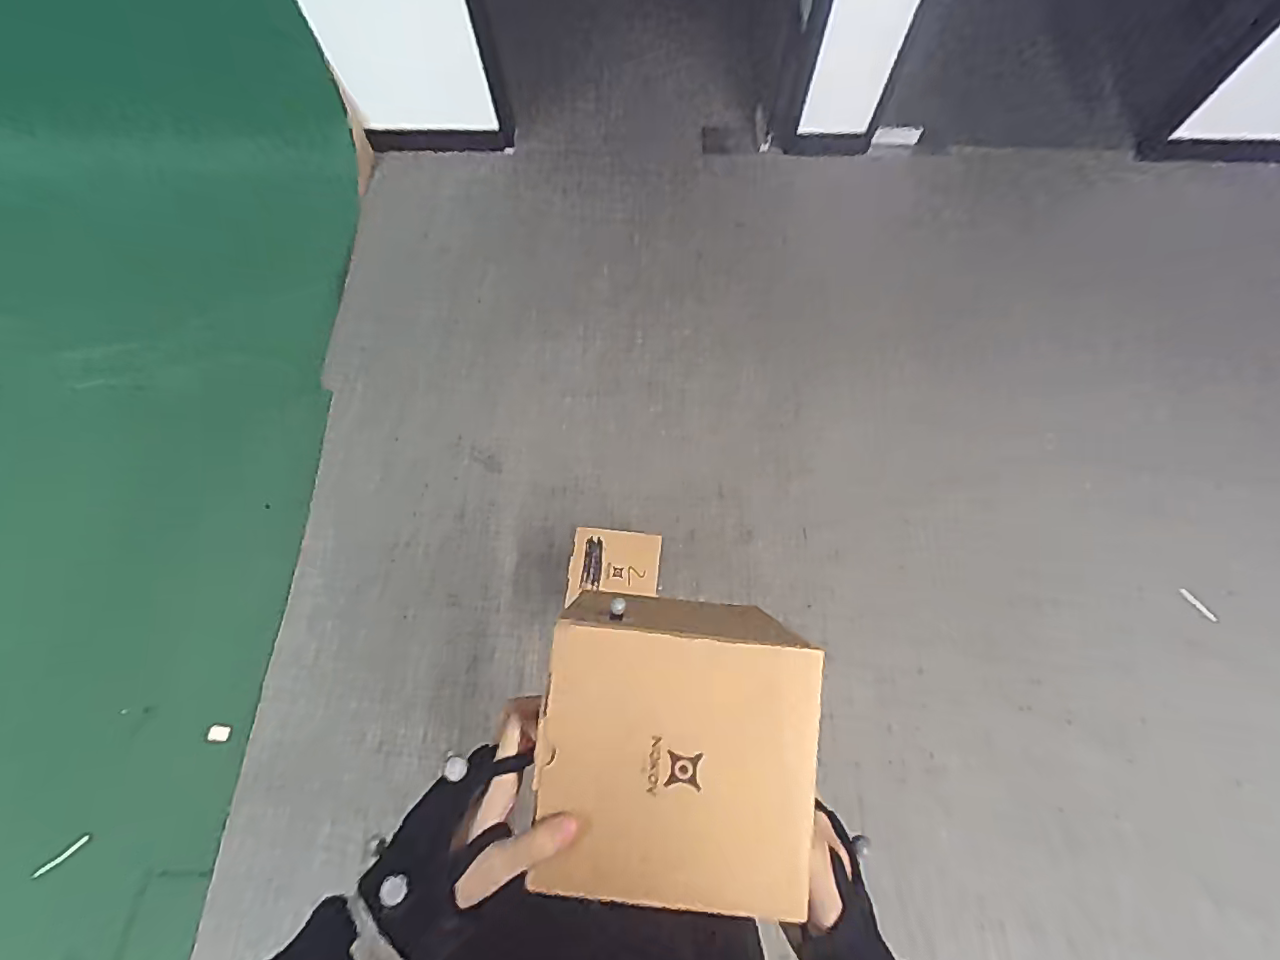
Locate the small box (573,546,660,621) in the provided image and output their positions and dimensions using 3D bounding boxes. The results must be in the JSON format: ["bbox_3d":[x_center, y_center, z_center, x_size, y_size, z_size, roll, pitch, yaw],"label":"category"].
[{"bbox_3d":[-0.052,0.263,1.287,0.179,0.176,0.168,7,71,3],"label":"small box"}]

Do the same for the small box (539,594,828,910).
[{"bbox_3d":[0.030,0.188,0.427,0.179,0.176,0.168,5,85,2],"label":"small box"}]
